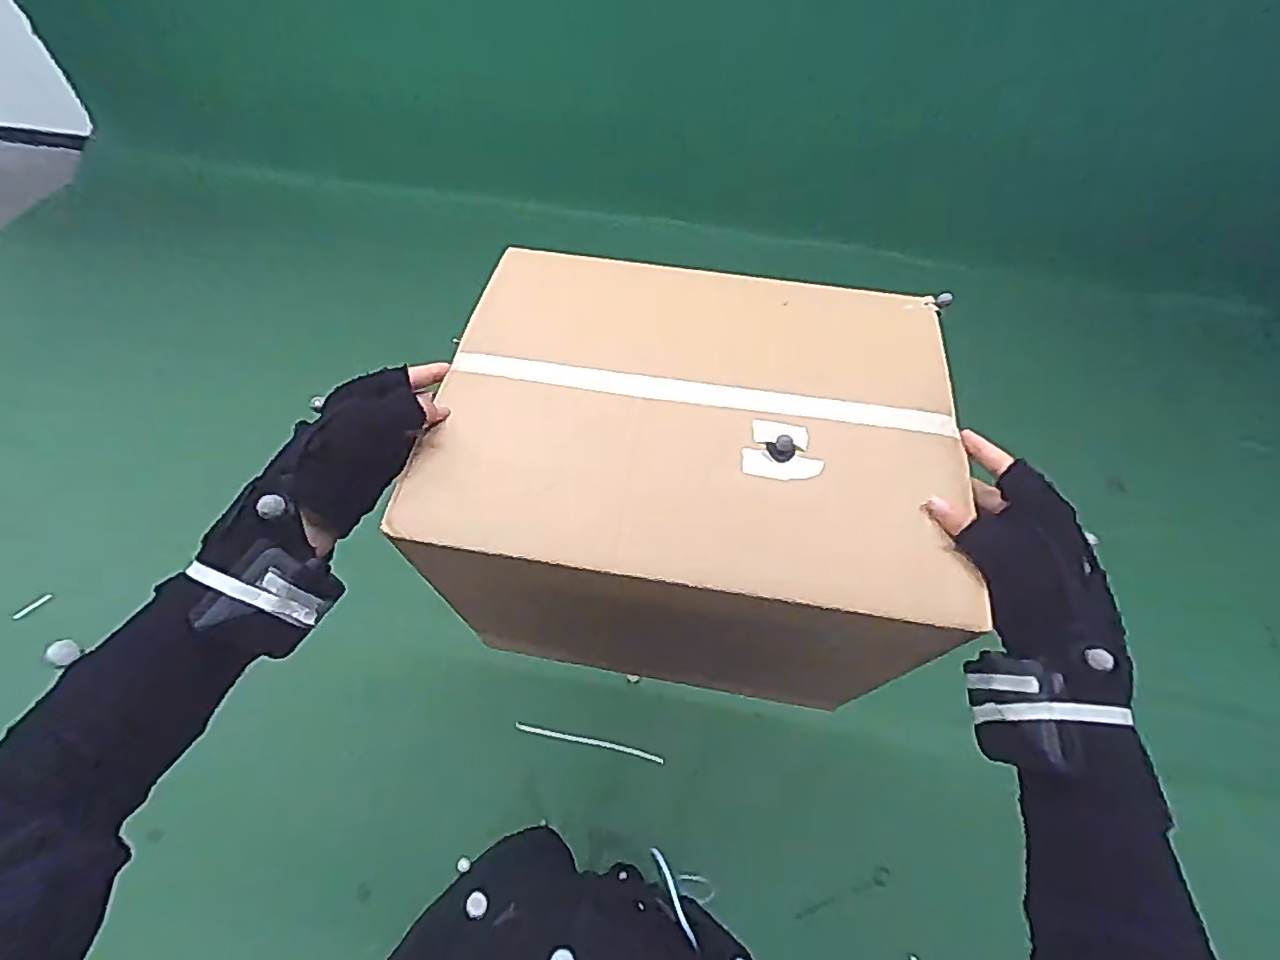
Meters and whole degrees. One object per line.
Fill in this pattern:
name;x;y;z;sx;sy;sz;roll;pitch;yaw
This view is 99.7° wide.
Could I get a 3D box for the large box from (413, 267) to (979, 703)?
large box;0.049;0.020;0.574;0.408;0.320;0.320;9;59;3
